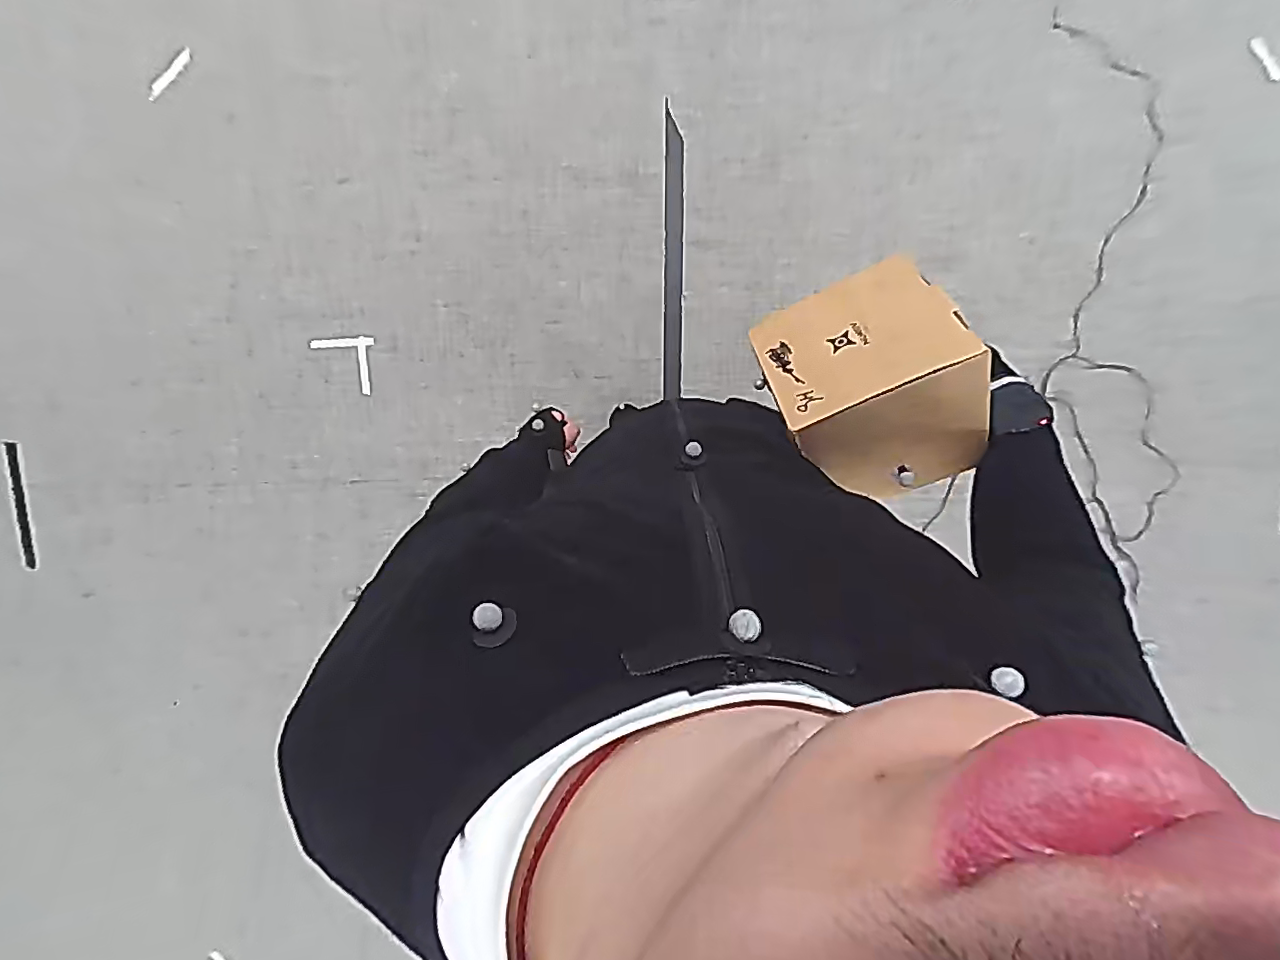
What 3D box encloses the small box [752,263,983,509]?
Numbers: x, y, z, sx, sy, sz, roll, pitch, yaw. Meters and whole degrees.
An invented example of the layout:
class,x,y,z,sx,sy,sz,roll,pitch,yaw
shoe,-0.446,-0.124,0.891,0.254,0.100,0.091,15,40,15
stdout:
class,x,y,z,sx,sy,sz,roll,pitch,yaw
small box,0.247,-0.096,0.601,0.179,0.168,0.176,-23,137,15
